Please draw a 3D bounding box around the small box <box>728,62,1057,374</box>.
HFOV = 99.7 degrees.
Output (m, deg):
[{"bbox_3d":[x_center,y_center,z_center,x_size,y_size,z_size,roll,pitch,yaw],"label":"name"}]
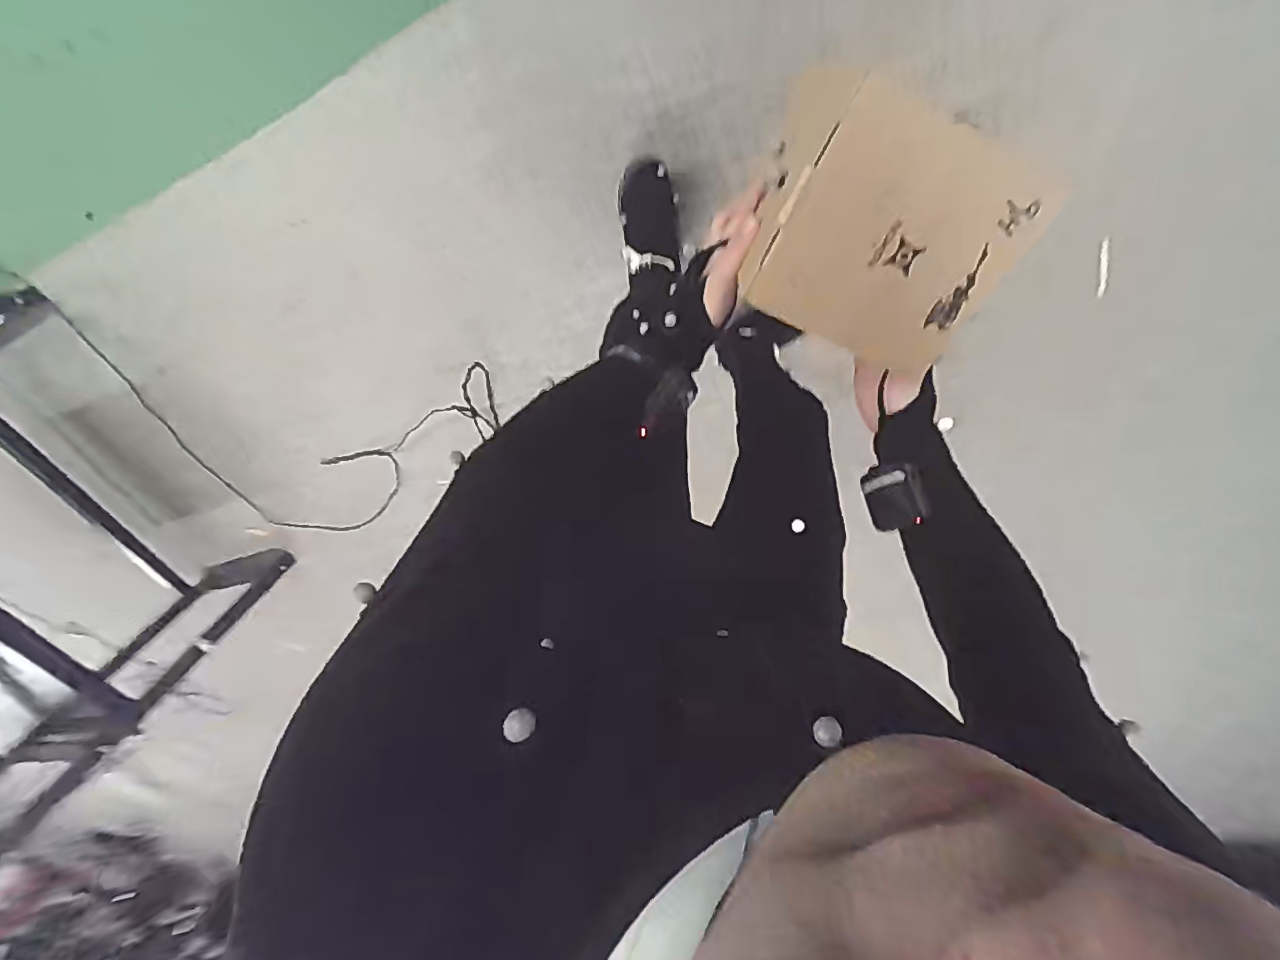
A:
[{"bbox_3d":[0.190,-0.226,0.471,0.179,0.176,0.168,22,126,-7],"label":"small box"}]
